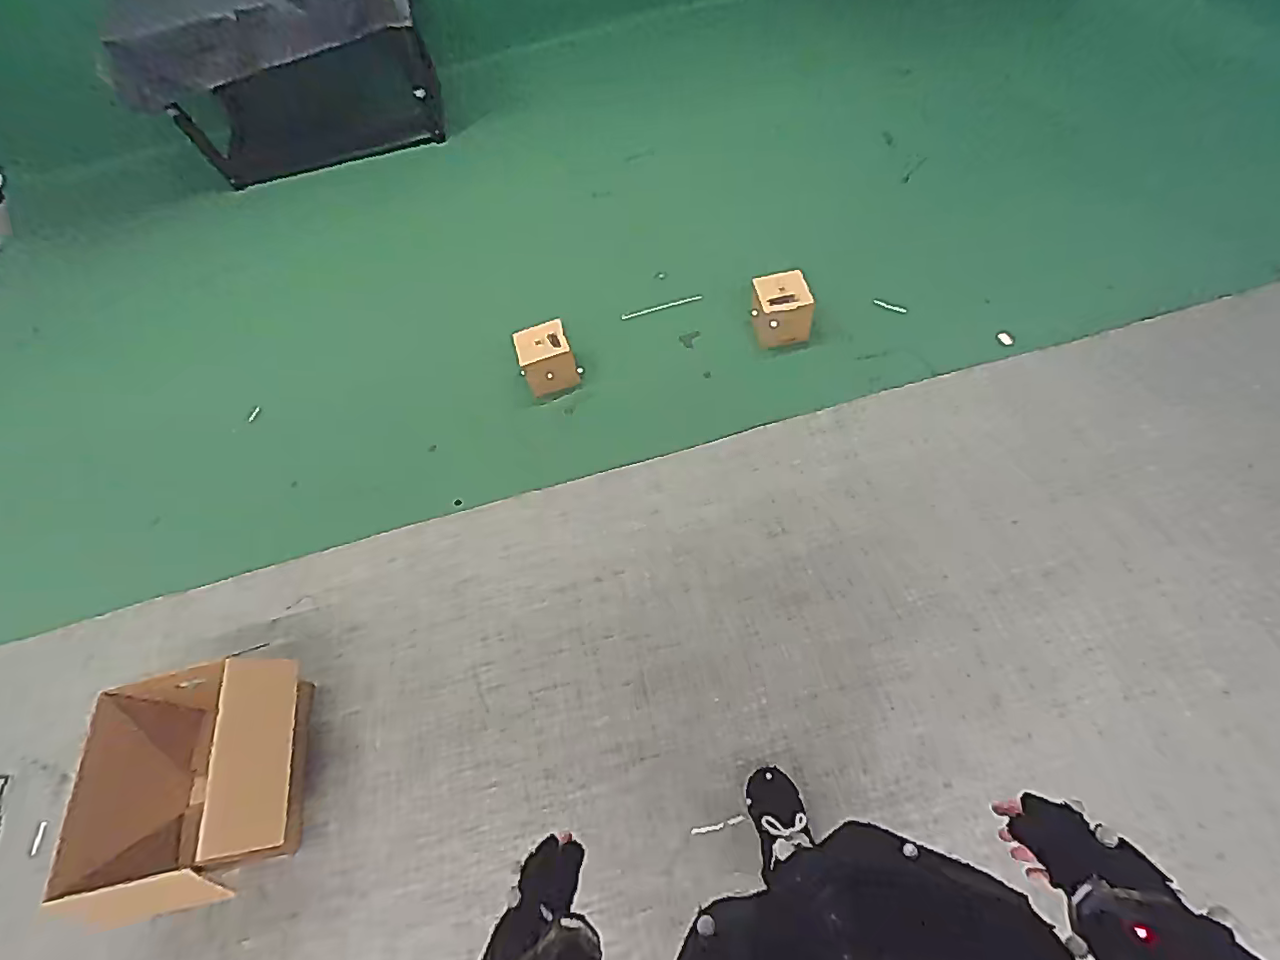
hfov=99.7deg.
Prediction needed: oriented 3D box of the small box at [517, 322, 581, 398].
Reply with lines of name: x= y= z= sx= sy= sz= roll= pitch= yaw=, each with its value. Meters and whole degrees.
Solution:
small box: x=-0.313 y=-0.416 z=1.897 sx=0.179 sy=0.176 sz=0.168 roll=-18 pitch=58 yaw=-1
